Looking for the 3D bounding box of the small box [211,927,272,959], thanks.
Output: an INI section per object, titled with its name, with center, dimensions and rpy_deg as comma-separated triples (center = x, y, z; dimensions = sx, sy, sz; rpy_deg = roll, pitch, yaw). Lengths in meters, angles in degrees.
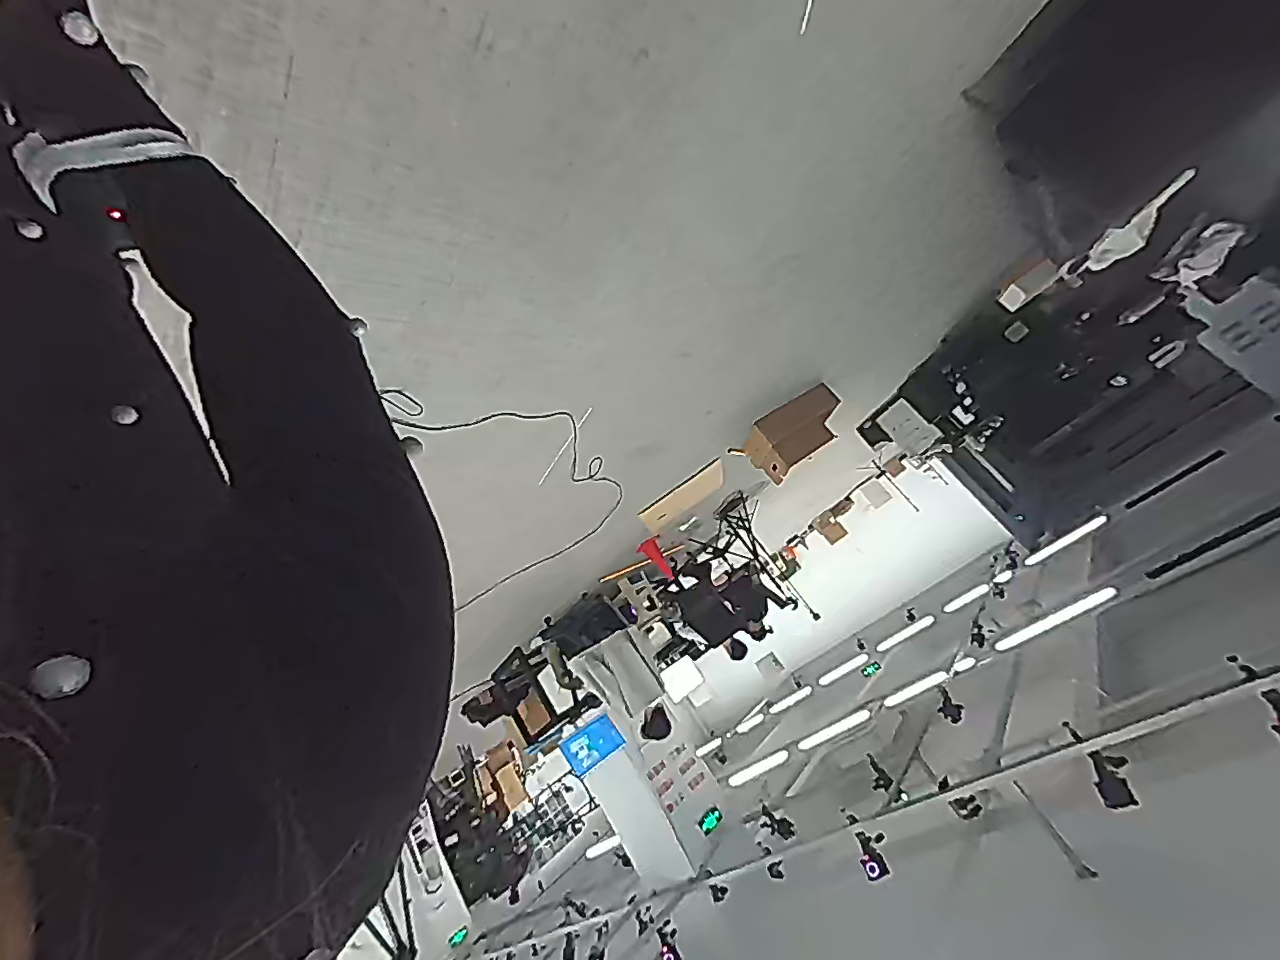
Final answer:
[small box]
center = -1.009, 1.247, 1.316
dimensions = 0.179, 0.176, 0.168
rpy_deg = -14, 152, -50
